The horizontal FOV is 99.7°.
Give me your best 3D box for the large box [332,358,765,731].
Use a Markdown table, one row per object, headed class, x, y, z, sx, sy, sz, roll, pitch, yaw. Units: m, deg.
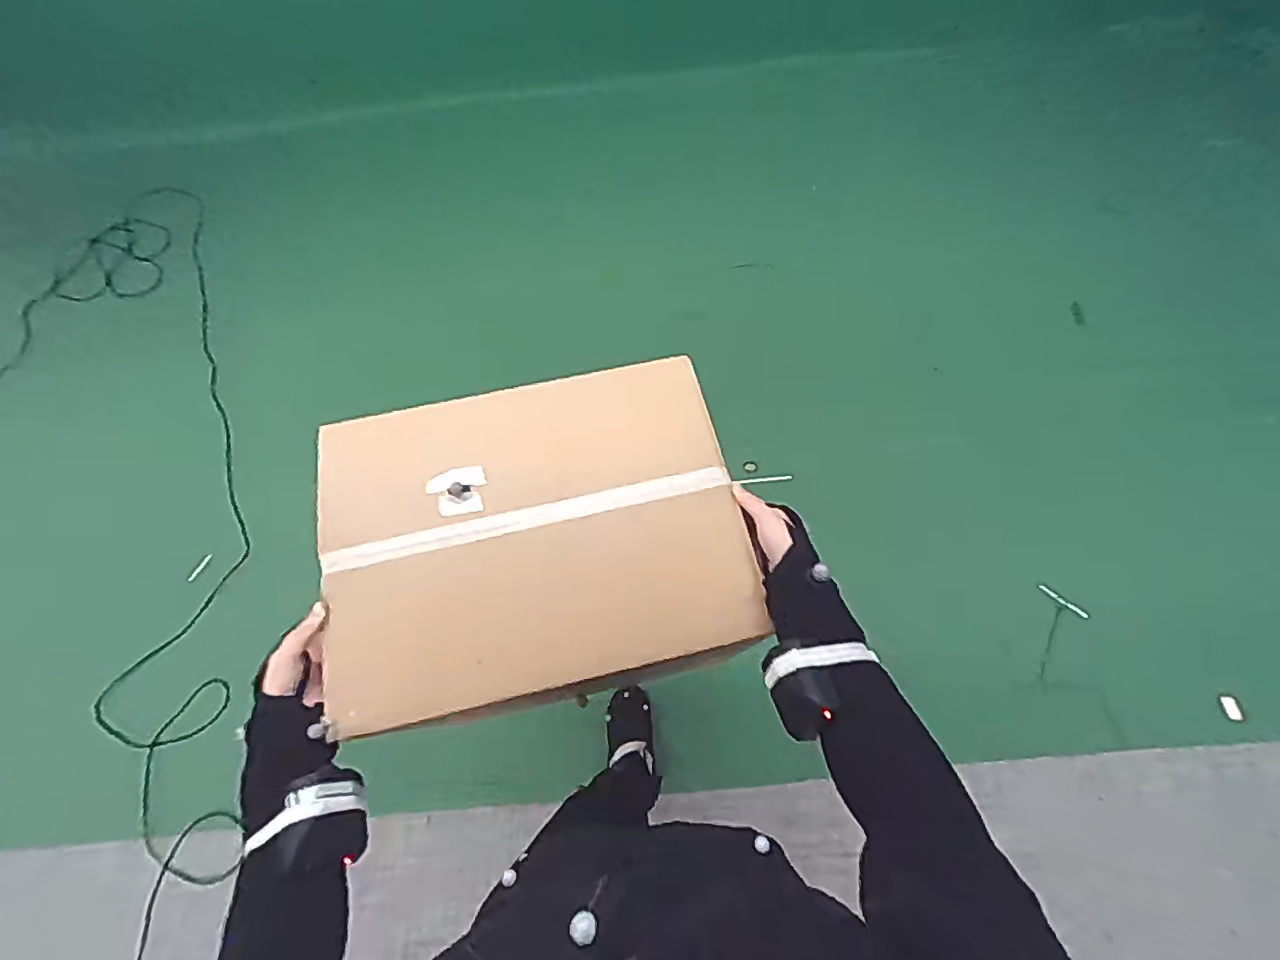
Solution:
| class | x | y | z | sx | sy | sz | roll | pitch | yaw |
| --- | --- | --- | --- | --- | --- | --- | --- | --- | --- |
| large box | -0.104 | 0.096 | 0.685 | 0.408 | 0.320 | 0.320 | -13 | 67 | -4 |
